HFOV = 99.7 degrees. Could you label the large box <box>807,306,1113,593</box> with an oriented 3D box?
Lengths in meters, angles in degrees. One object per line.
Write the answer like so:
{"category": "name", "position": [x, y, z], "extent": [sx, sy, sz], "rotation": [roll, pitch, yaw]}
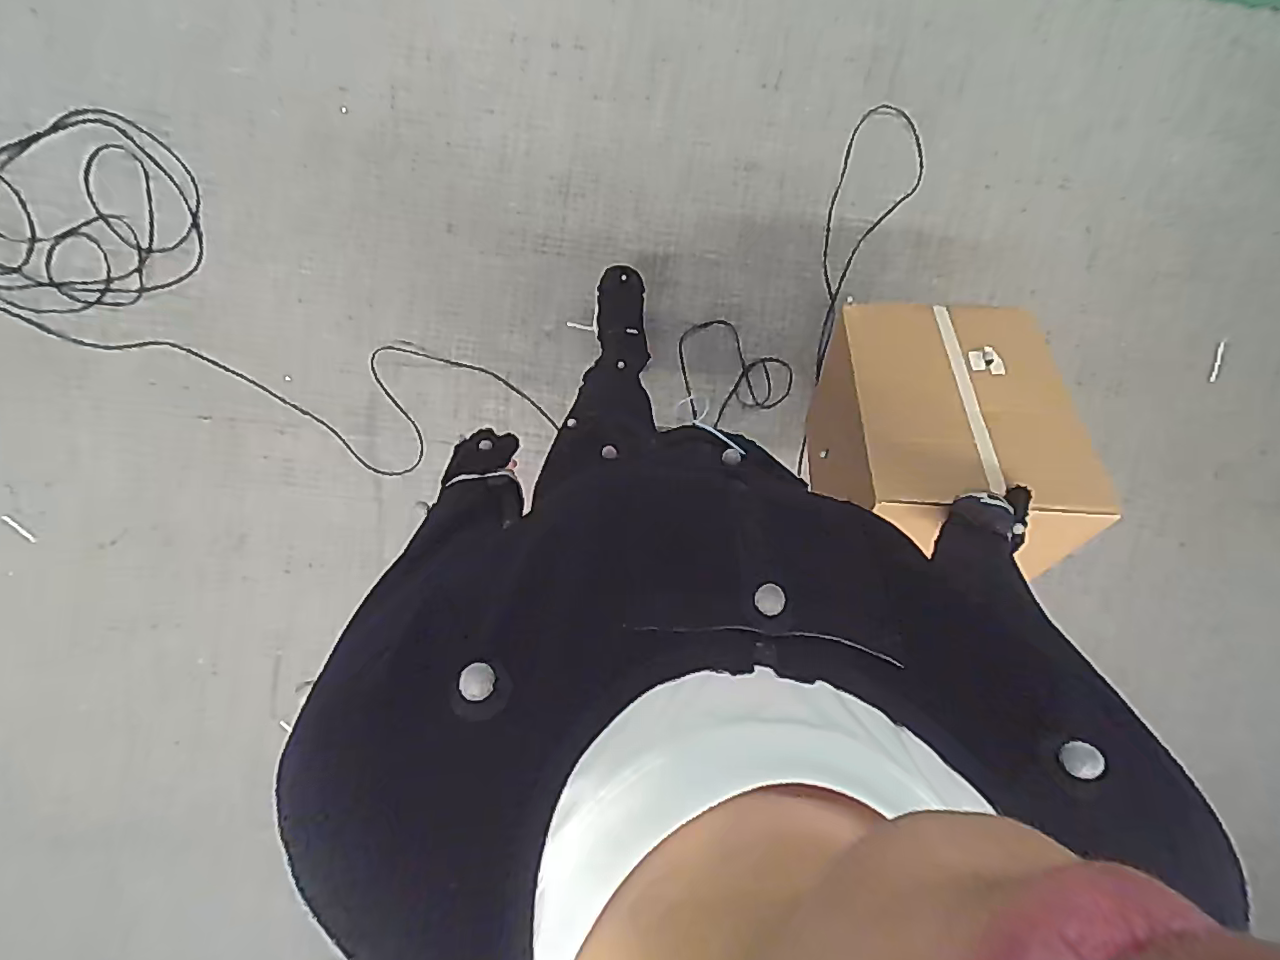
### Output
{"category": "large box", "position": [0.494, -0.048, 0.951], "extent": [0.320, 0.320, 0.408], "rotation": [4, 56, 4]}
